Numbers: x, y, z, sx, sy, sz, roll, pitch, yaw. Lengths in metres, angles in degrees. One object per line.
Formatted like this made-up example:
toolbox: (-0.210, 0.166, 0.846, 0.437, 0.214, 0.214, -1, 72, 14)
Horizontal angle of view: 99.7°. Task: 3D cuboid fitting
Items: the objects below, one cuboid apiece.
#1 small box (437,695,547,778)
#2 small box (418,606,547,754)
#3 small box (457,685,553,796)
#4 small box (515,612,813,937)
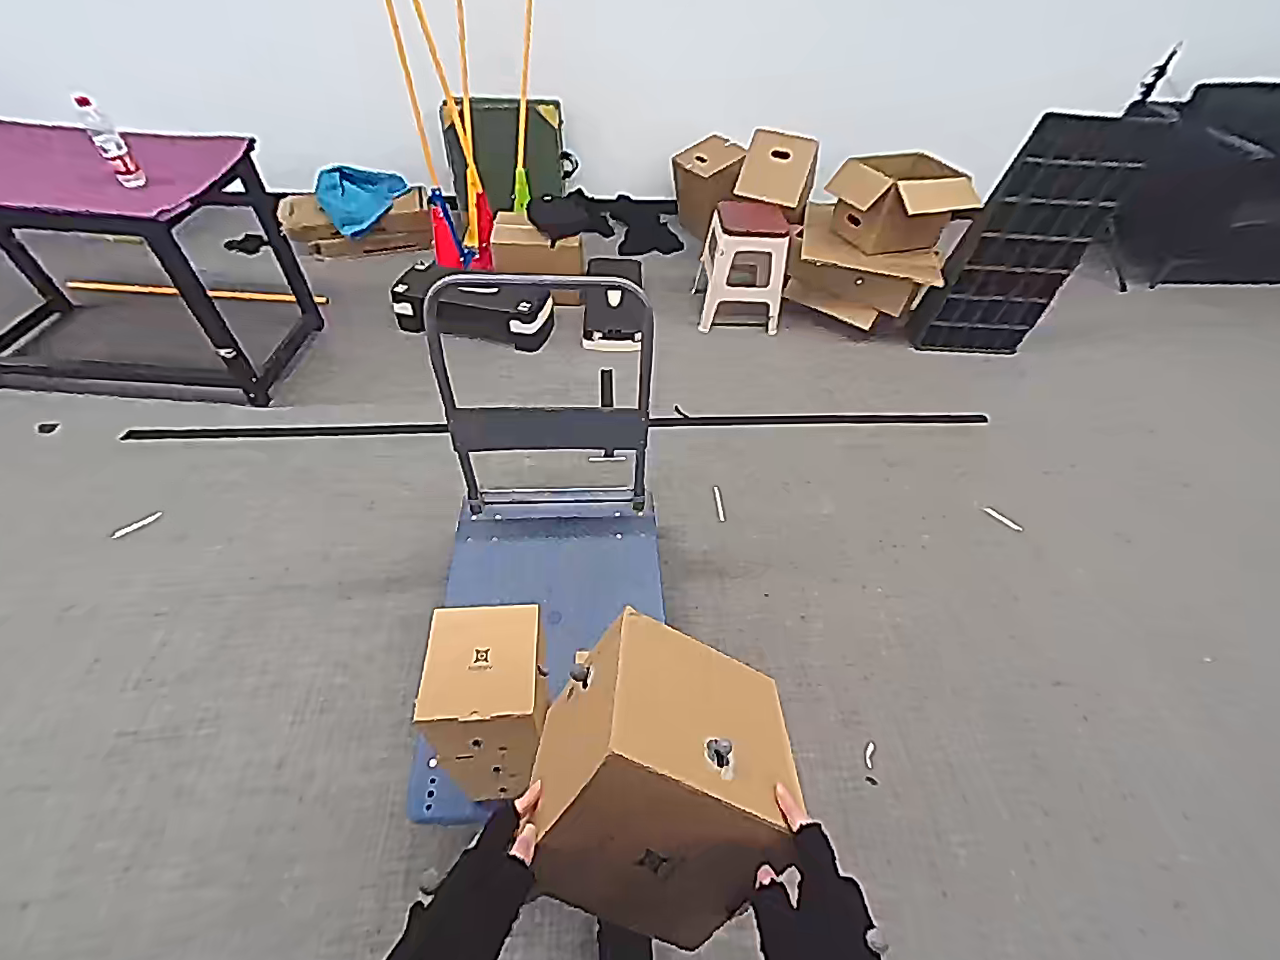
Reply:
small box: (-0.259, 0.432, 0.990, 0.168, 0.176, 0.179, -2, 50, -7)
small box: (-0.239, 0.322, 0.870, 0.168, 0.176, 0.179, -1, 49, -6)
small box: (-0.268, 0.539, 1.115, 0.168, 0.176, 0.179, -1, 49, -6)
small box: (0.019, 0.251, 0.487, 0.179, 0.168, 0.176, 30, 20, -10)
